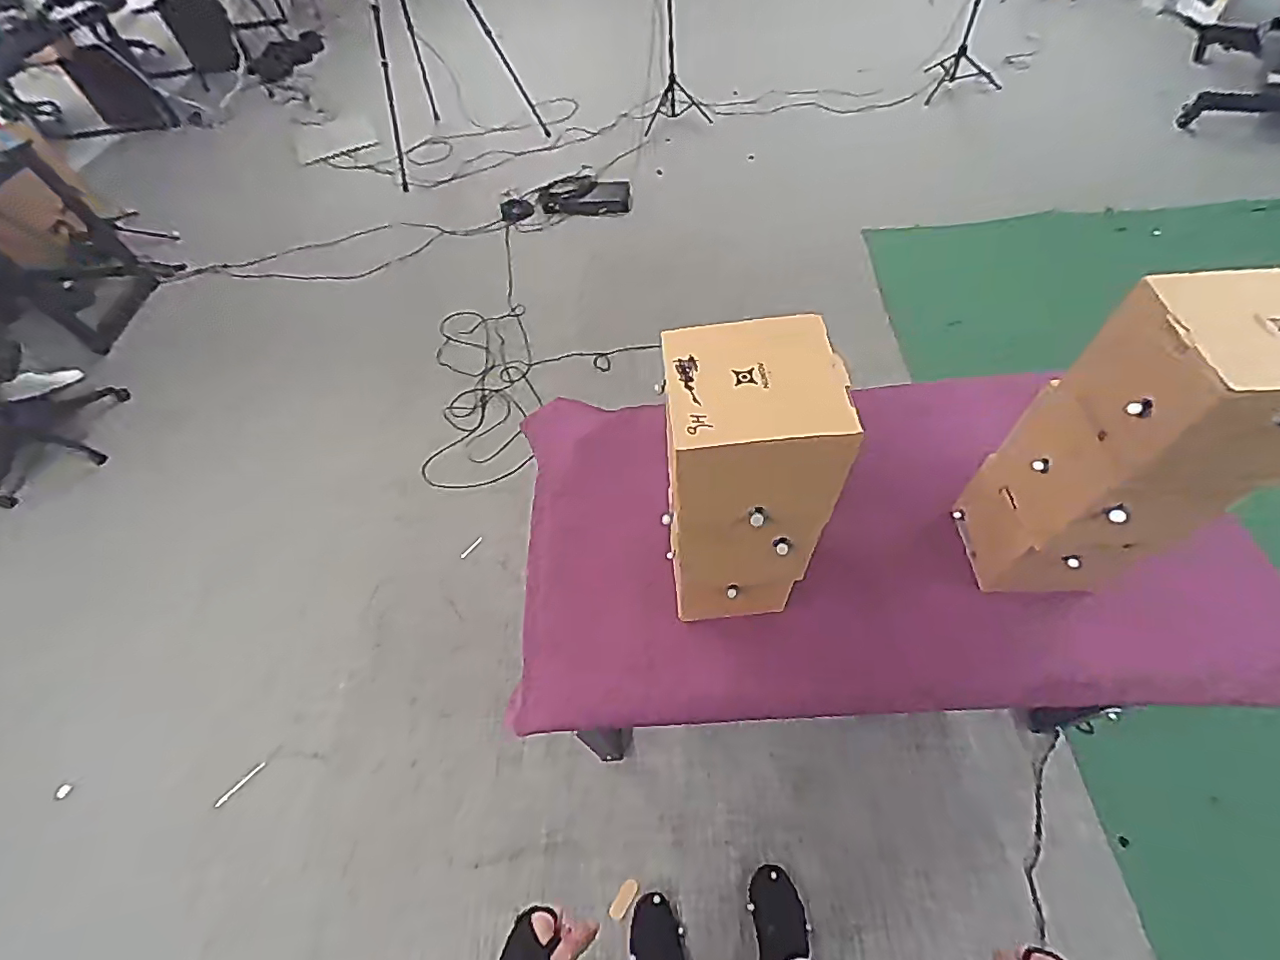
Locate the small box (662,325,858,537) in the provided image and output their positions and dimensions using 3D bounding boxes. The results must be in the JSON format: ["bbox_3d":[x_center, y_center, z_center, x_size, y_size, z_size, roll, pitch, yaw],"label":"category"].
[{"bbox_3d":[0.118,-0.049,0.609,0.179,0.176,0.168,-5,55,3],"label":"small box"}]

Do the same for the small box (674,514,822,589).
[{"bbox_3d":[0.133,0.040,0.746,0.179,0.176,0.168,-5,55,4],"label":"small box"}]

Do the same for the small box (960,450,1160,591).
[{"bbox_3d":[0.641,0.070,0.861,0.179,0.176,0.168,-2,56,5],"label":"small box"}]

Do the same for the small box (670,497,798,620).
[{"bbox_3d":[0.146,0.120,0.890,0.179,0.176,0.168,-7,56,3],"label":"small box"}]

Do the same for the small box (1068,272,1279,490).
[{"bbox_3d":[0.610,-0.099,0.582,0.179,0.176,0.168,-1,56,6],"label":"small box"}]
